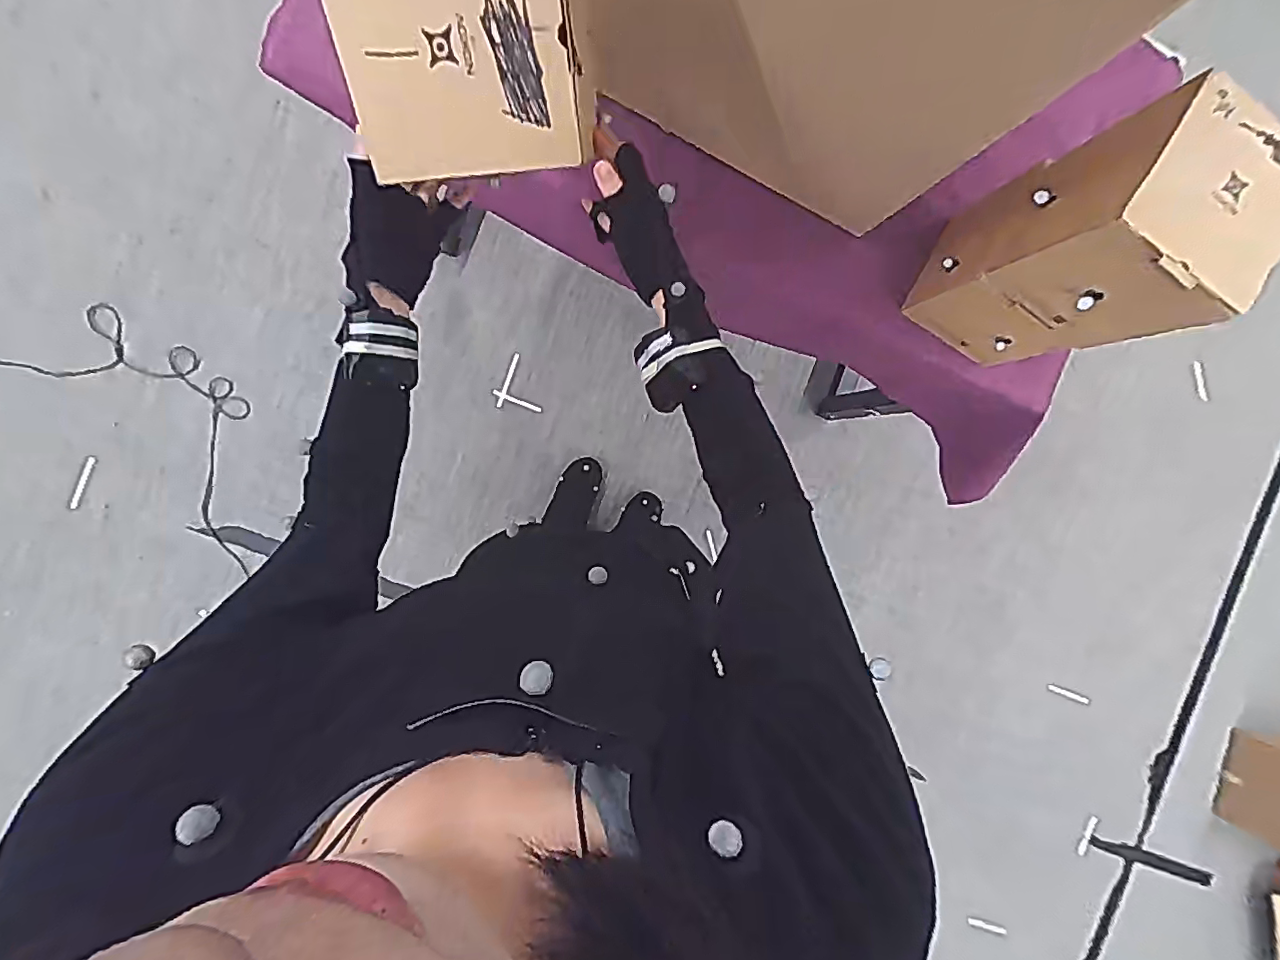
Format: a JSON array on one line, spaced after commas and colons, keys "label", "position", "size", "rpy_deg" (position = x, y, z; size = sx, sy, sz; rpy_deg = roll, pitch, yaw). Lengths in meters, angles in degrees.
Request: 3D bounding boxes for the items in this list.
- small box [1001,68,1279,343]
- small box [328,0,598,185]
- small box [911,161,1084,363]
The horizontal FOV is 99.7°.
[{"label": "small box", "position": [0.546, -0.274, 0.592], "size": [0.168, 0.176, 0.179], "rpy_deg": [33, 89, -9]}, {"label": "small box", "position": [-0.133, -0.361, 0.469], "size": [0.179, 0.176, 0.168], "rpy_deg": [-3, 121, 4]}, {"label": "small box", "position": [0.517, -0.283, 0.754], "size": [0.168, 0.176, 0.179], "rpy_deg": [29, 88, -9]}]
